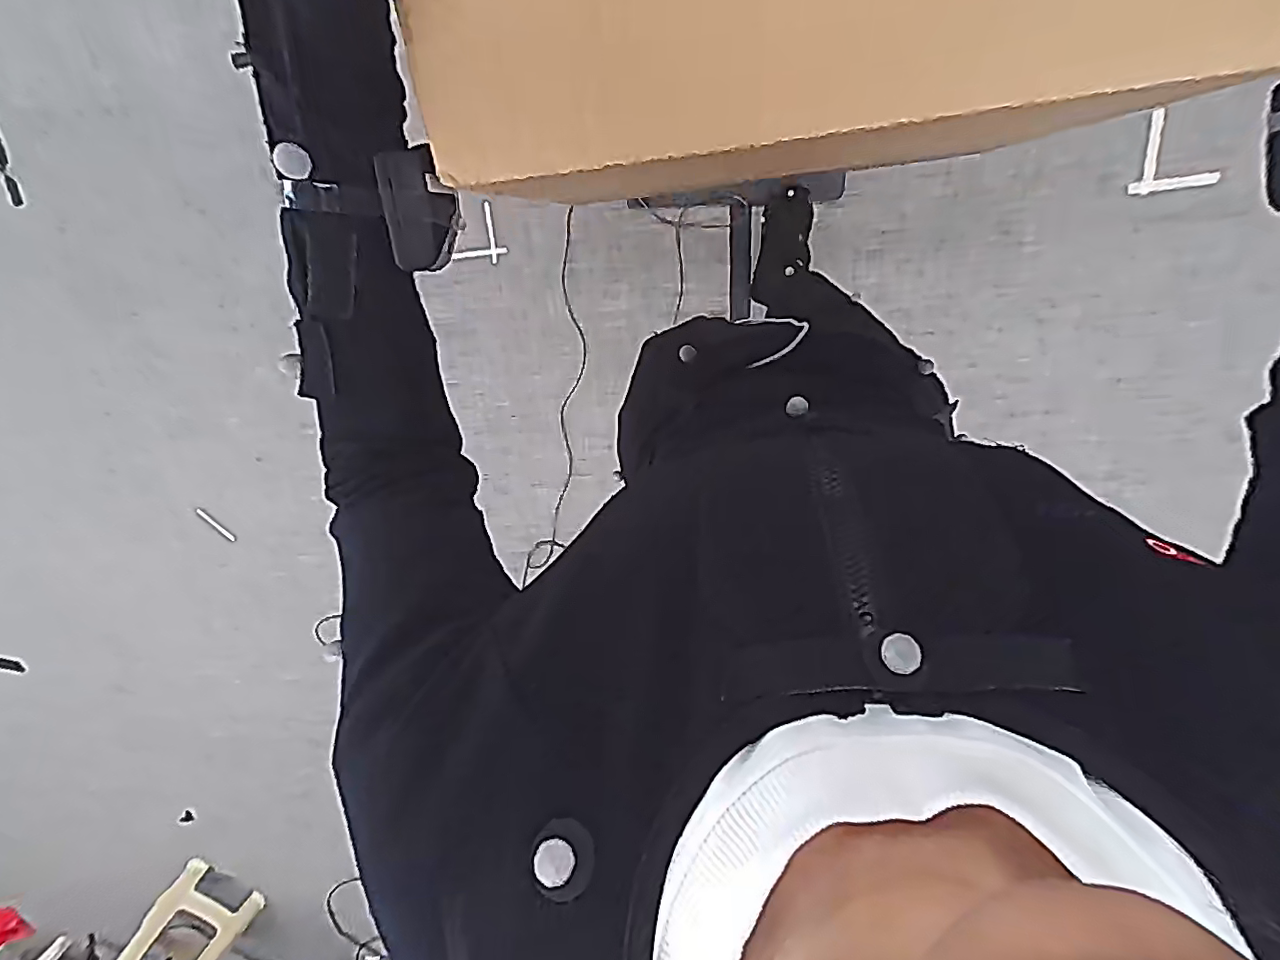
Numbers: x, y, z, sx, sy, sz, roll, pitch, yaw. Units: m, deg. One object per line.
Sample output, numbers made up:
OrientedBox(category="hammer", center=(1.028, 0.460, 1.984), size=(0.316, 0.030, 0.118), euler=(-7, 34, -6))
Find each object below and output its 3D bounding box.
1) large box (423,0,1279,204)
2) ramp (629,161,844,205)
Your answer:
OrientedBox(category="large box", center=(0.092, -0.378, 0.337), size=(0.408, 0.320, 0.320), euler=(-4, 115, 7))
OrientedBox(category="ramp", center=(0.193, -1.082, 1.008), size=(0.509, 0.206, 0.991), euler=(-2, 110, 5))
